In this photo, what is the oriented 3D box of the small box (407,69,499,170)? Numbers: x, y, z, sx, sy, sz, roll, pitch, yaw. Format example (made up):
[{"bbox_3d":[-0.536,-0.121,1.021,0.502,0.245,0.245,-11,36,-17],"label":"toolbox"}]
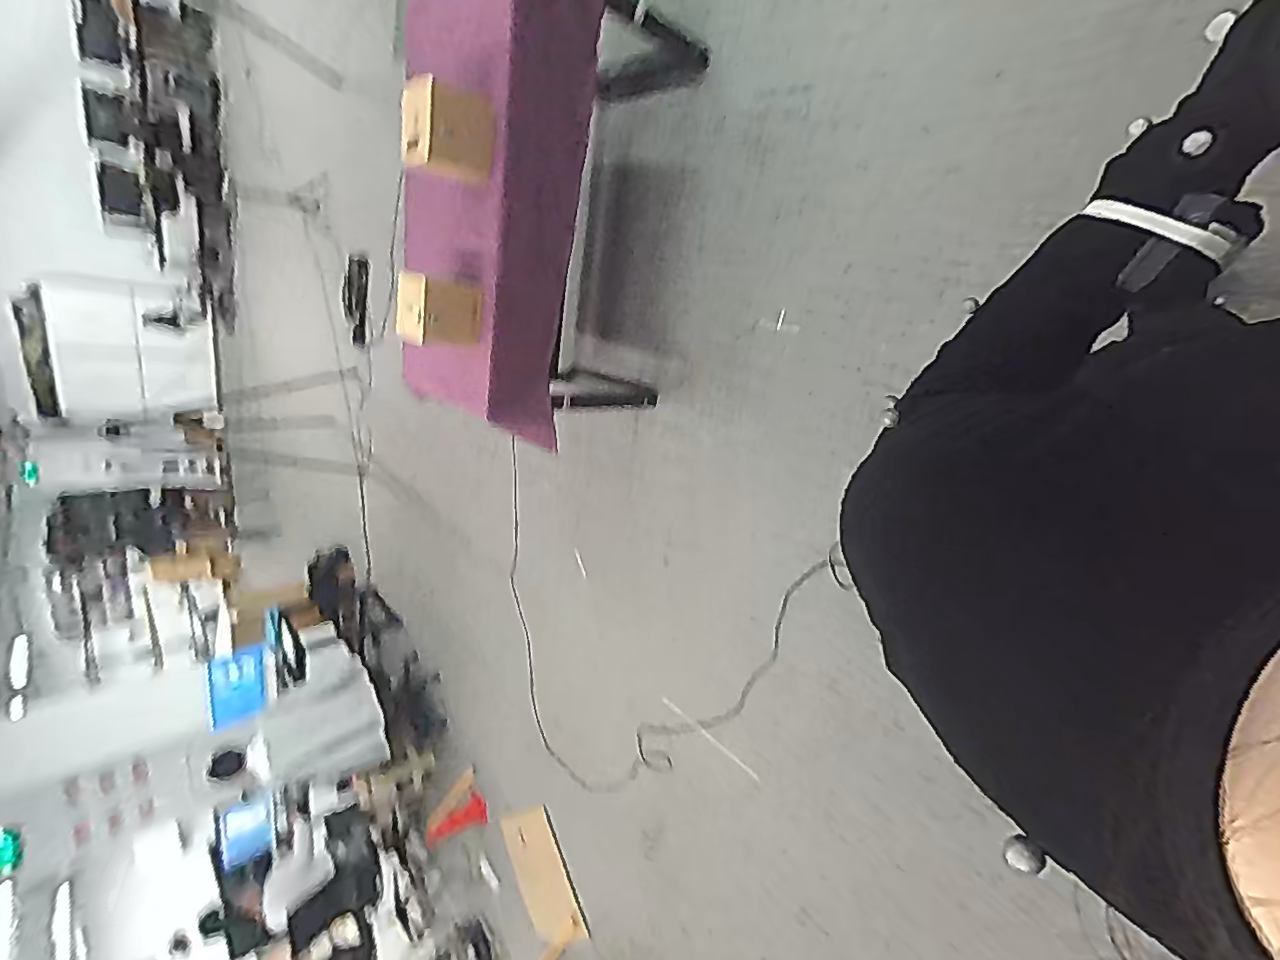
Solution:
[{"bbox_3d":[-0.479,-0.909,1.385,0.168,0.176,0.179,27,114,40],"label":"small box"}]

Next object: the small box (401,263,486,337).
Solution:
[{"bbox_3d":[-0.556,-0.503,1.526,0.179,0.176,0.168,28,116,40],"label":"small box"}]
